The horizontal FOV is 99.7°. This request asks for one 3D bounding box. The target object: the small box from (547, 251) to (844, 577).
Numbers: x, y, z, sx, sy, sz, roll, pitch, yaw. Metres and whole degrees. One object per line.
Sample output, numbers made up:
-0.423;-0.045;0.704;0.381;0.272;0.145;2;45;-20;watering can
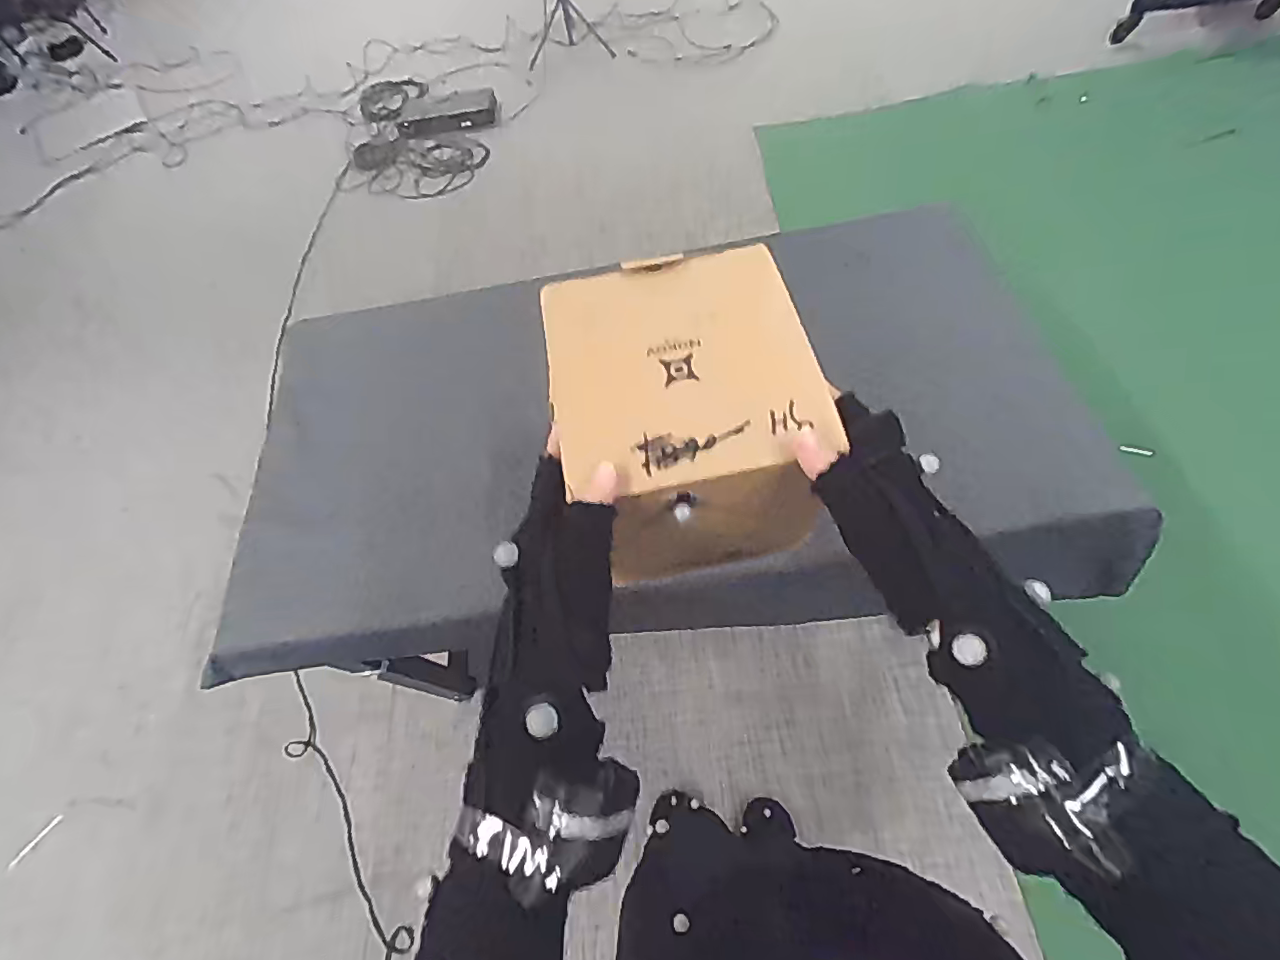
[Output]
0.032;-0.043;0.430;0.168;0.176;0.179;-13;63;-2;small box
